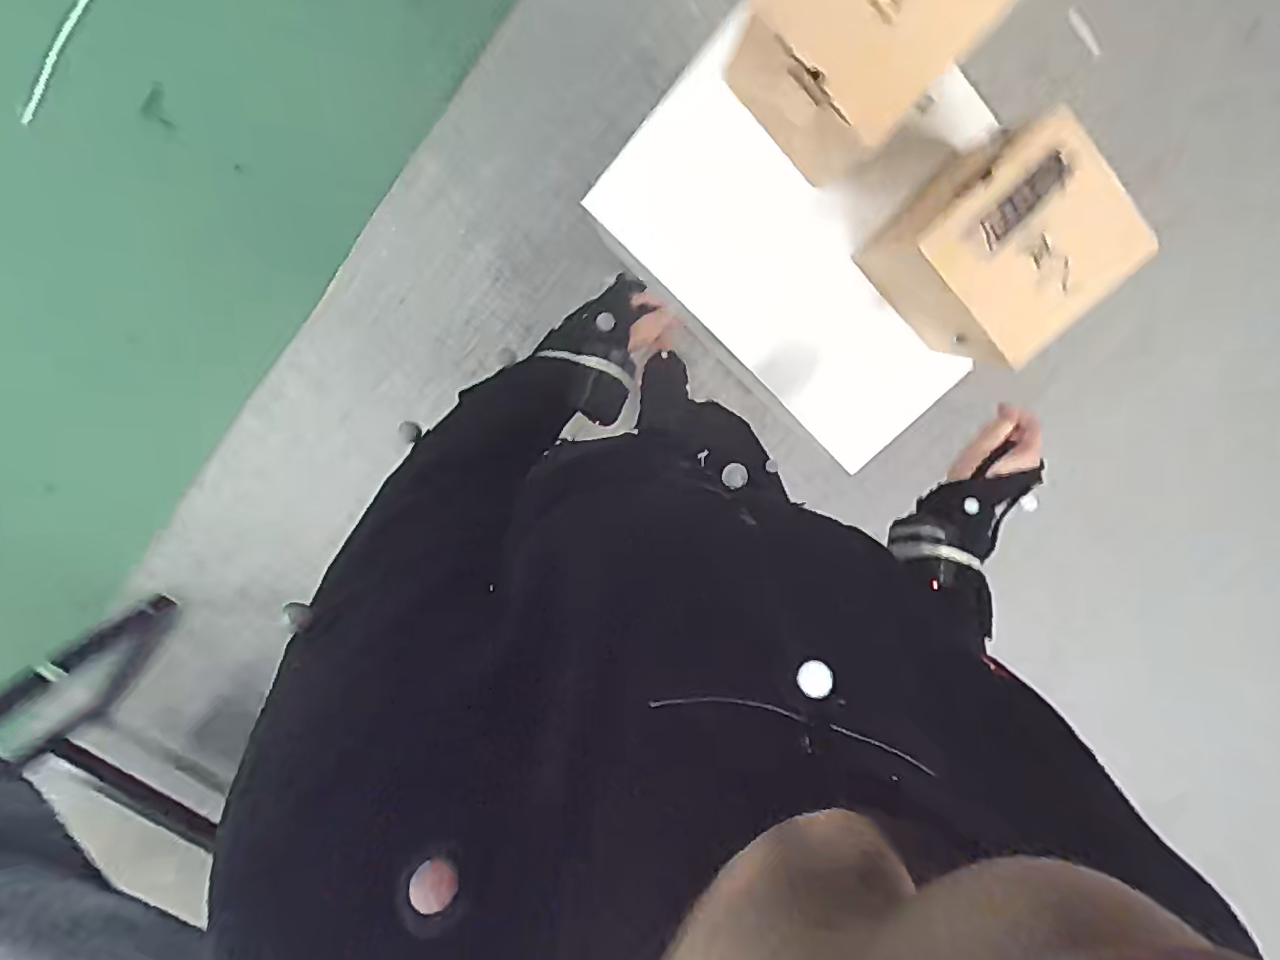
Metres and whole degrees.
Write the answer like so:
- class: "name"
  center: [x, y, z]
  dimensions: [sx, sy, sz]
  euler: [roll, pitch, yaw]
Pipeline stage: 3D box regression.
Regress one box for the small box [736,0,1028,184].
- class: "small box"
  center: [0.218, -0.435, 0.536]
  dimensions: [0.168, 0.176, 0.179]
  euler: [42, 104, -13]
